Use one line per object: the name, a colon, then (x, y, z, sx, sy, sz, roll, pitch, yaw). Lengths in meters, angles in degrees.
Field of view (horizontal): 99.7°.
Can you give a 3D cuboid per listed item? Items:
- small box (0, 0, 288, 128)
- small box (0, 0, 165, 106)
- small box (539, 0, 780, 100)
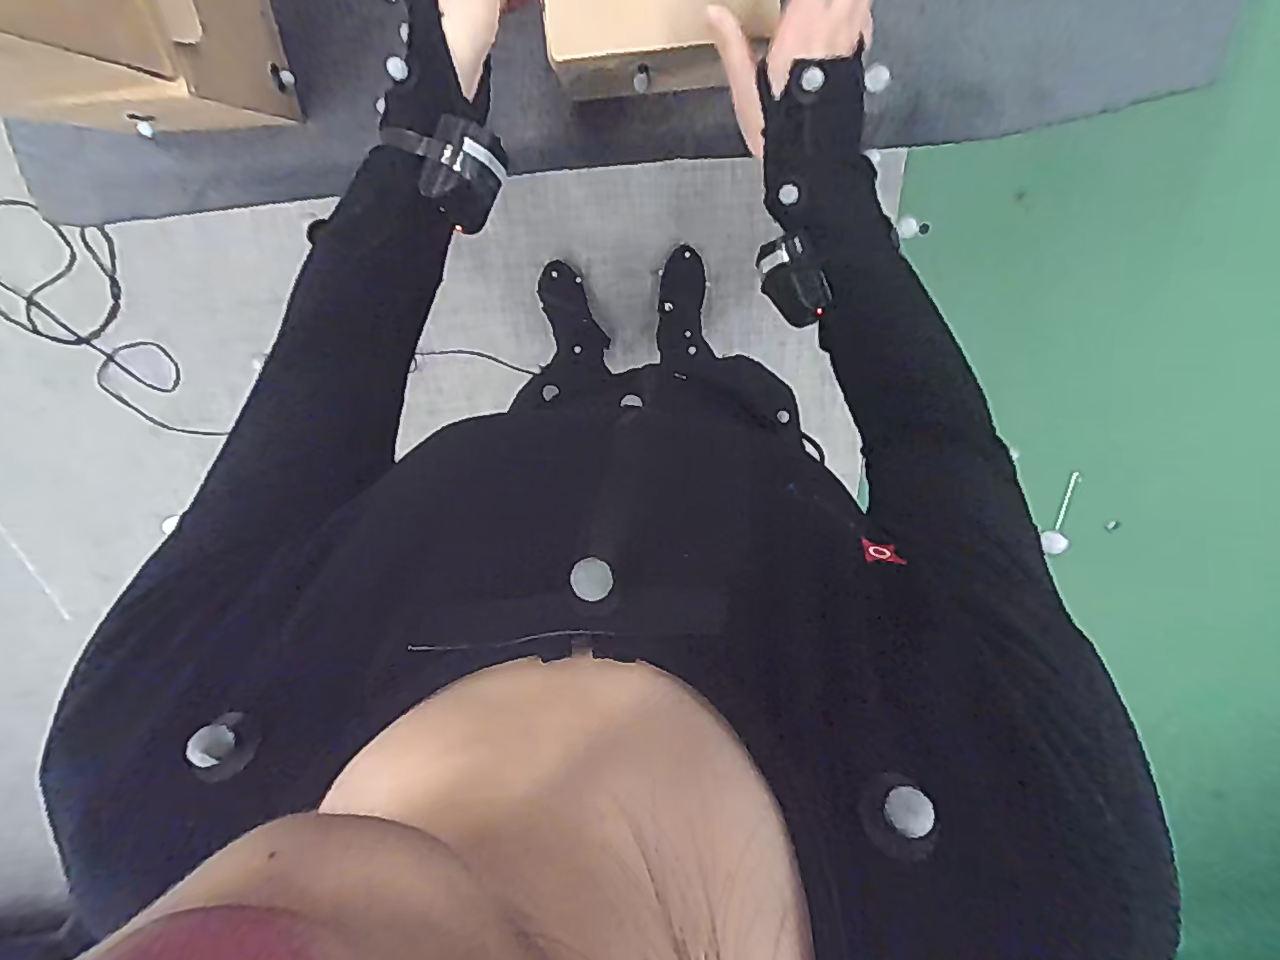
small box: (-0.425, -0.392, 0.438, 0.179, 0.176, 0.168, -3, 118, -1)
small box: (-0.434, -0.318, 0.293, 0.179, 0.176, 0.168, -8, 118, 1)
small box: (0.012, -0.426, 0.439, 0.179, 0.176, 0.168, -4, 117, 3)
